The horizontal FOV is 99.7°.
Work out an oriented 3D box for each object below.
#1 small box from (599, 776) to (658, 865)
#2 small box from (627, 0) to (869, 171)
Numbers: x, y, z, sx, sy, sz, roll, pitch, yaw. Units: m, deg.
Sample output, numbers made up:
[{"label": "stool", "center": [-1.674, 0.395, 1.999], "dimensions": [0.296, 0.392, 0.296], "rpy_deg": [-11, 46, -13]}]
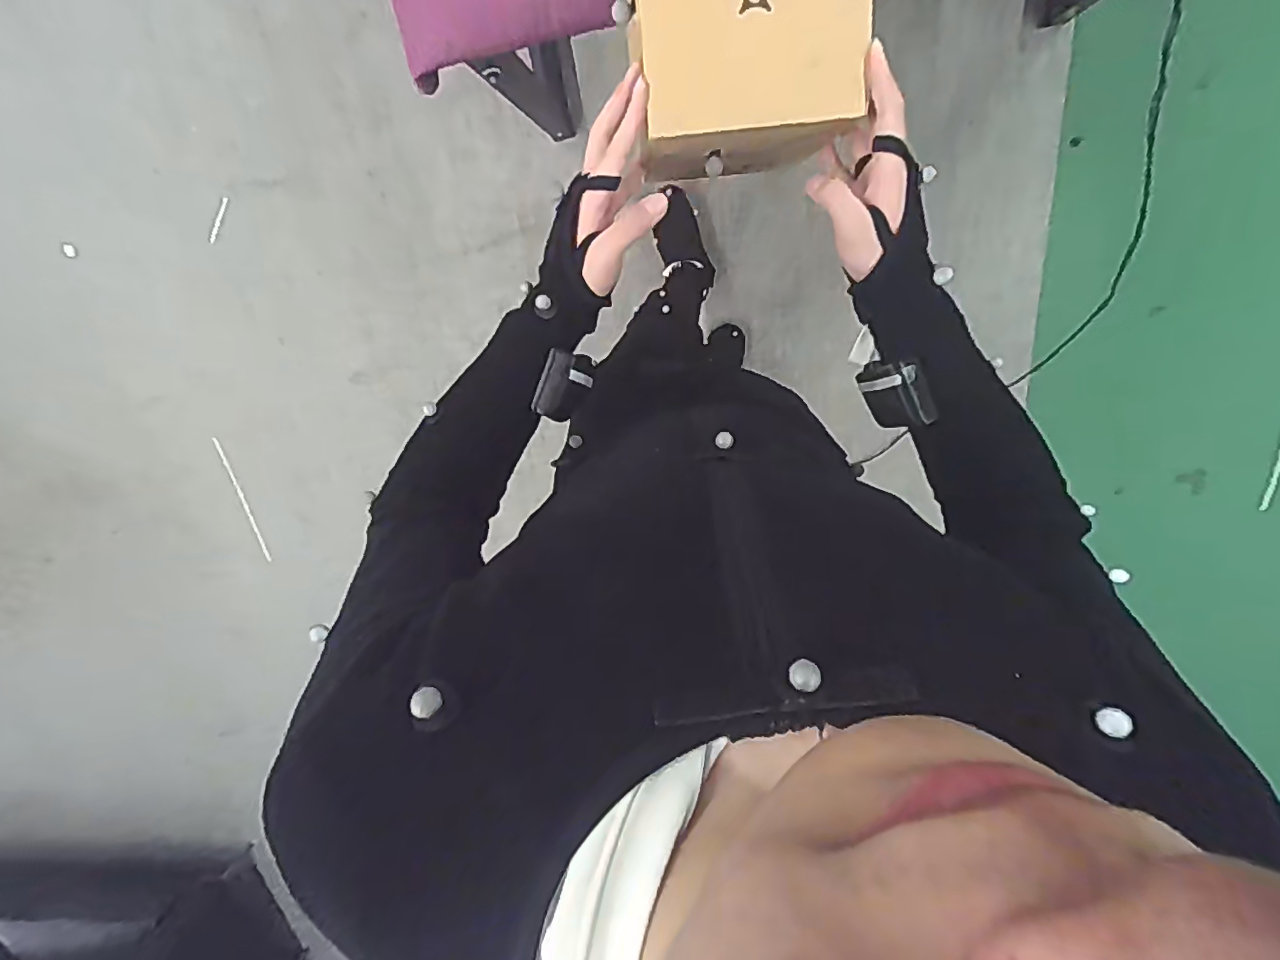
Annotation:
[{"label": "small box", "center": [-0.033, 1.067, 1.703], "dimensions": [0.168, 0.176, 0.179], "rpy_deg": [1, 110, 6]}, {"label": "small box", "center": [0.076, -0.372, 0.449], "dimensions": [0.168, 0.176, 0.179], "rpy_deg": [-6, 108, 1]}]
